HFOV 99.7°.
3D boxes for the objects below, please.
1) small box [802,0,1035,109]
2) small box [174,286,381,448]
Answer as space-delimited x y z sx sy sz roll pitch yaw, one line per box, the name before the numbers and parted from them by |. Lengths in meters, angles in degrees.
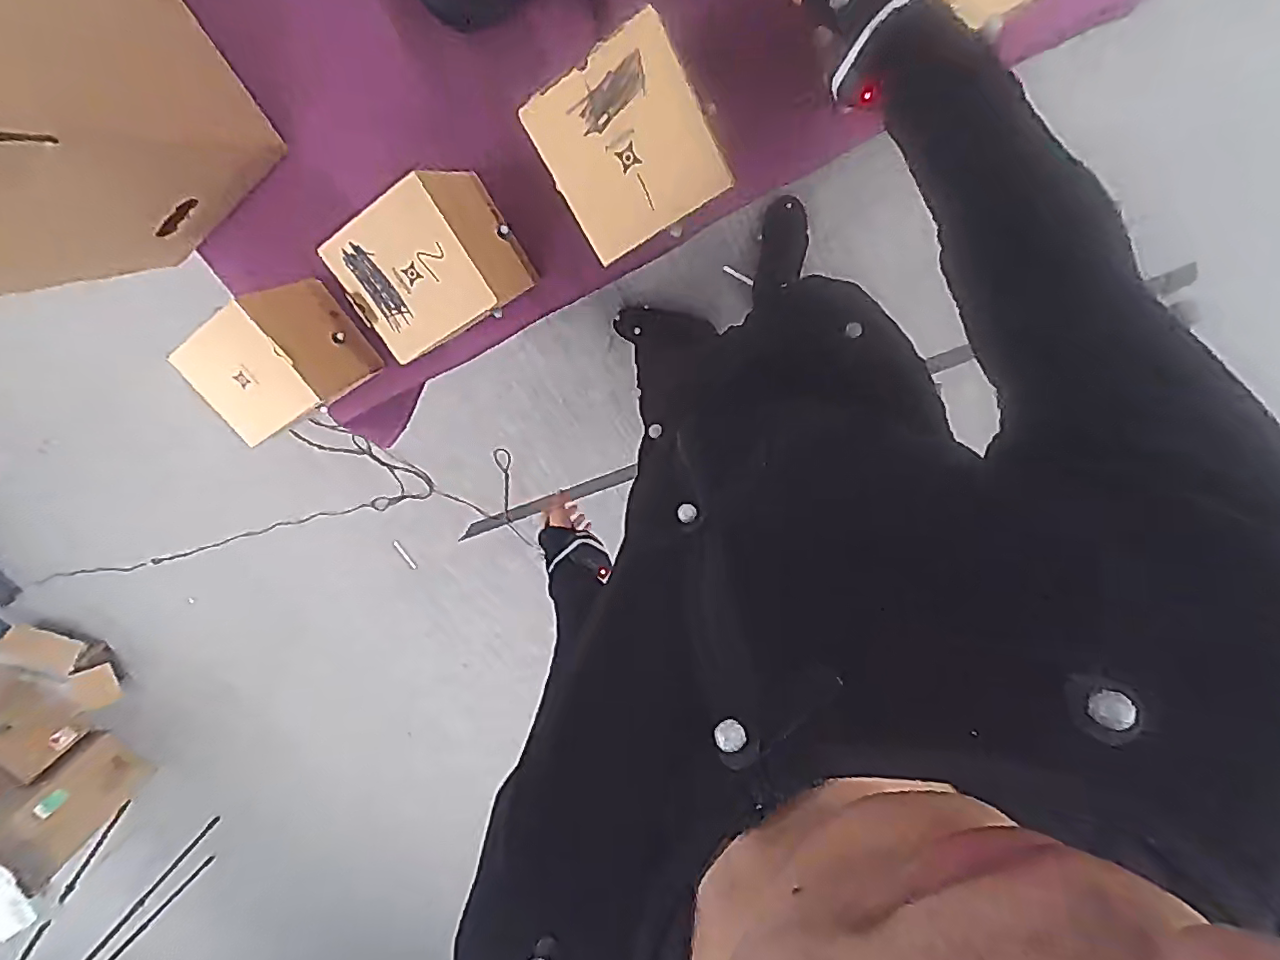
small box | 0.252 -0.493 0.515 0.168 0.176 0.179 -21 113 22
small box | -0.555 -0.181 0.853 0.179 0.176 0.168 -25 111 21
